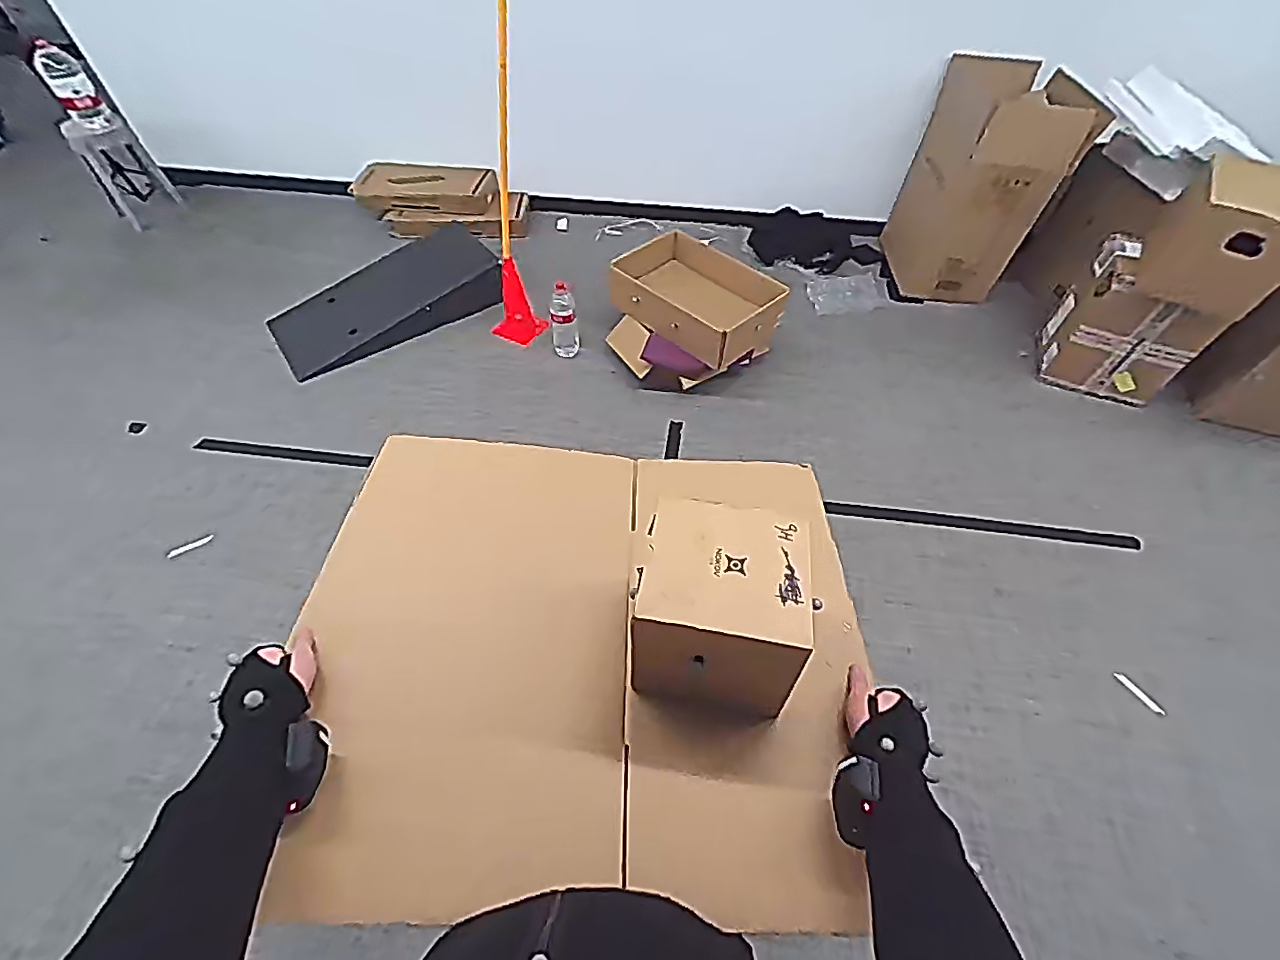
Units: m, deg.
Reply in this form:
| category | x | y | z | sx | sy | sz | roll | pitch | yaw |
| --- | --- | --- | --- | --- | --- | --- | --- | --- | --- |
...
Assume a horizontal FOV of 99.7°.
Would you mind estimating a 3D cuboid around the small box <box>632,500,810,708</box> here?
| category | x | y | z | sx | sy | sz | roll | pitch | yaw |
| --- | --- | --- | --- | --- | --- | --- | --- | --- | --- |
| small box | 0.093 | 0.147 | 0.634 | 0.179 | 0.176 | 0.168 | 7 | 47 | 7 |
